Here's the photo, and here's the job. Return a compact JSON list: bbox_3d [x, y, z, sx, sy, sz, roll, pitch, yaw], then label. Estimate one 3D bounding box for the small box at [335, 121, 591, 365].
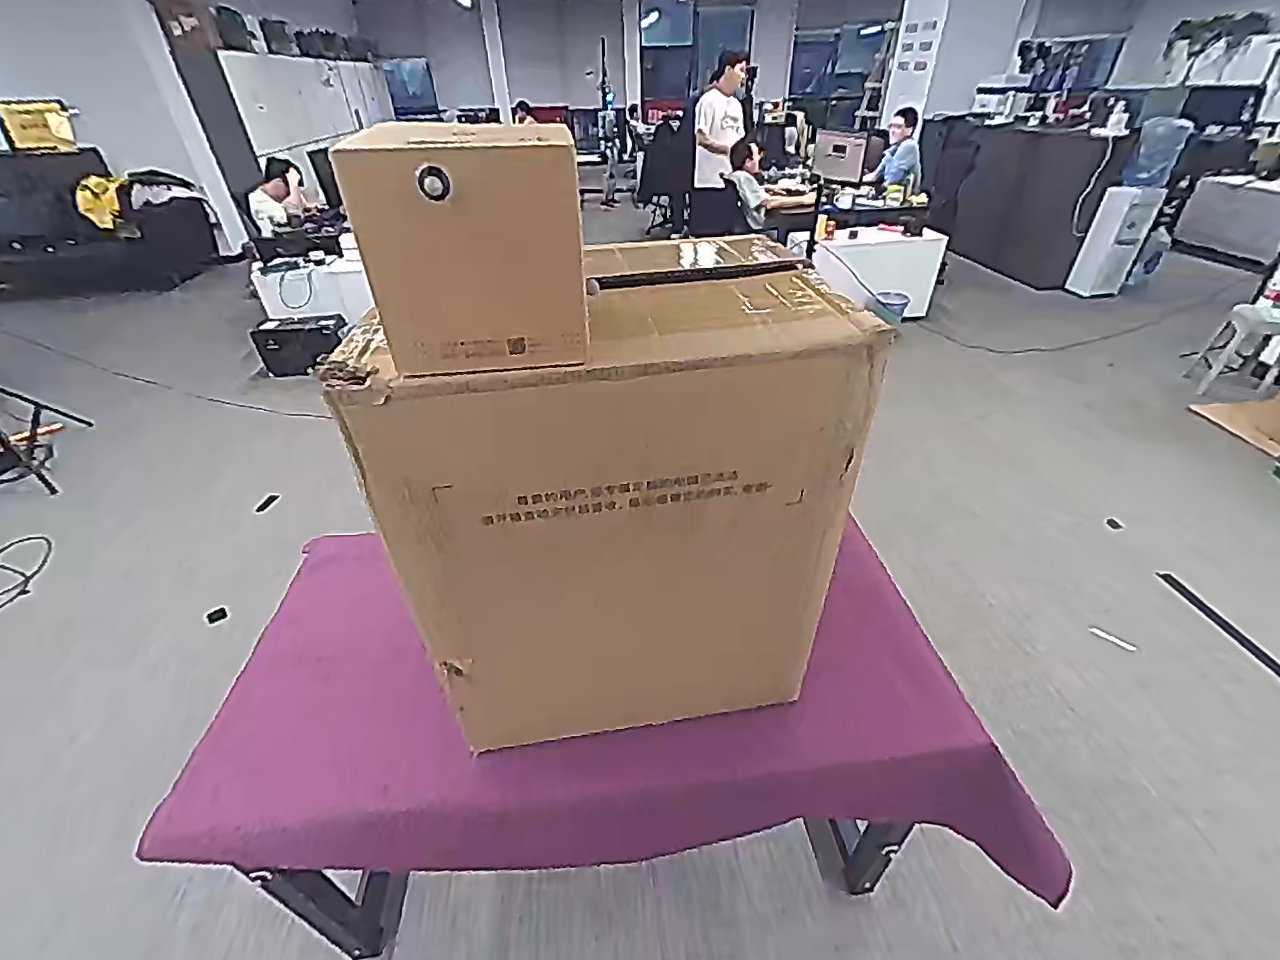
[{"bbox_3d":[-0.135,-0.215,0.480,0.168,0.176,0.179,-6,37,-7],"label":"small box"}]
